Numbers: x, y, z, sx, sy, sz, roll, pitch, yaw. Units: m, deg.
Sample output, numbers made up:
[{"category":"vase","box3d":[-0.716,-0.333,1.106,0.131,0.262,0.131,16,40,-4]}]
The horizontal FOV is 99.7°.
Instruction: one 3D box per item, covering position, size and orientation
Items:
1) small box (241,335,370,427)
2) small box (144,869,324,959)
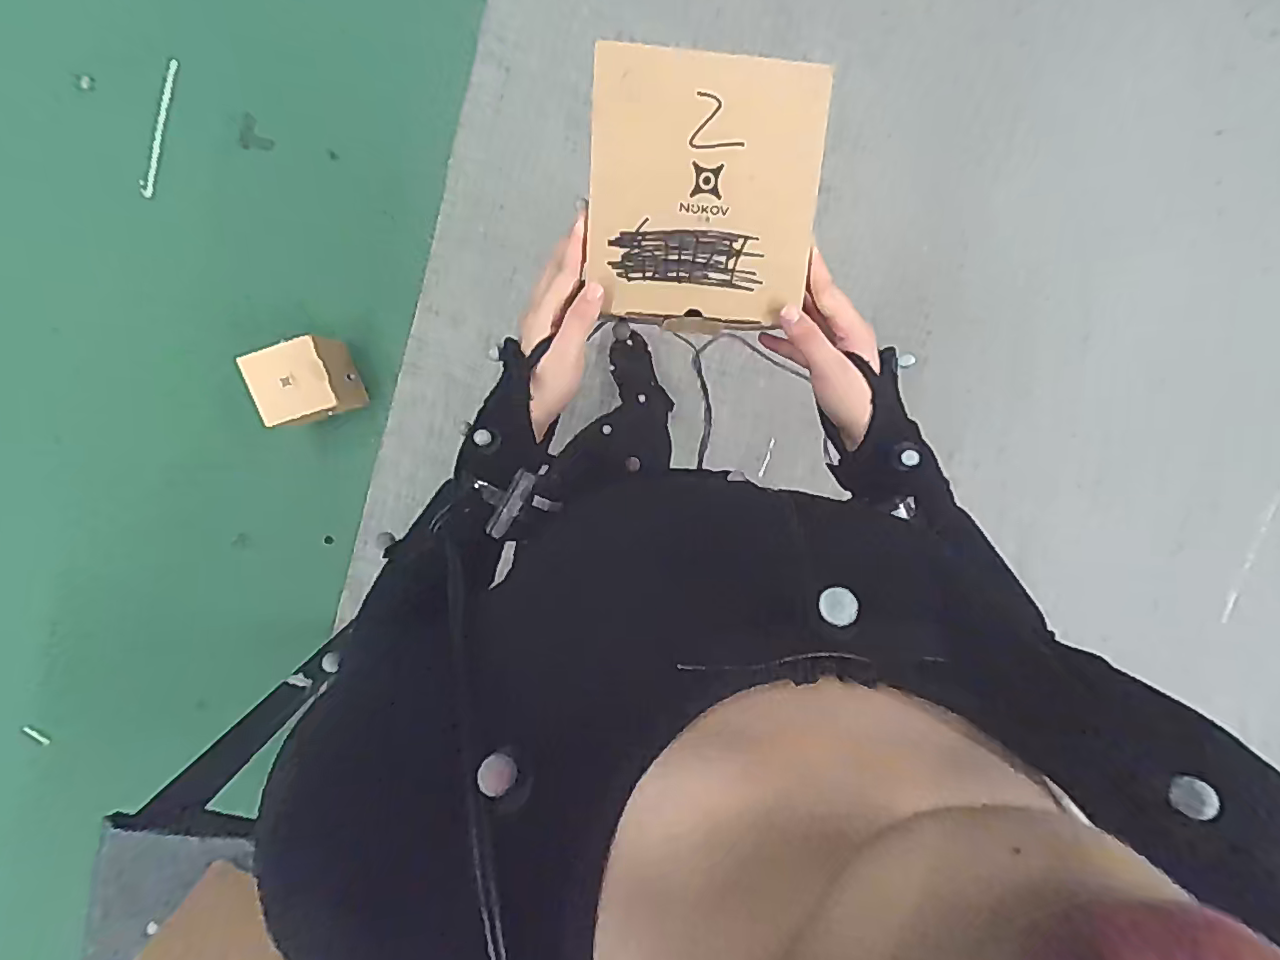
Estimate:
[{"category":"small box","box3d":[-0.790,-0.232,1.295,0.179,0.176,0.168,-19,99,-2]},{"category":"small box","box3d":[-0.555,0.656,0.694,0.179,0.176,0.168,37,96,-9]}]
